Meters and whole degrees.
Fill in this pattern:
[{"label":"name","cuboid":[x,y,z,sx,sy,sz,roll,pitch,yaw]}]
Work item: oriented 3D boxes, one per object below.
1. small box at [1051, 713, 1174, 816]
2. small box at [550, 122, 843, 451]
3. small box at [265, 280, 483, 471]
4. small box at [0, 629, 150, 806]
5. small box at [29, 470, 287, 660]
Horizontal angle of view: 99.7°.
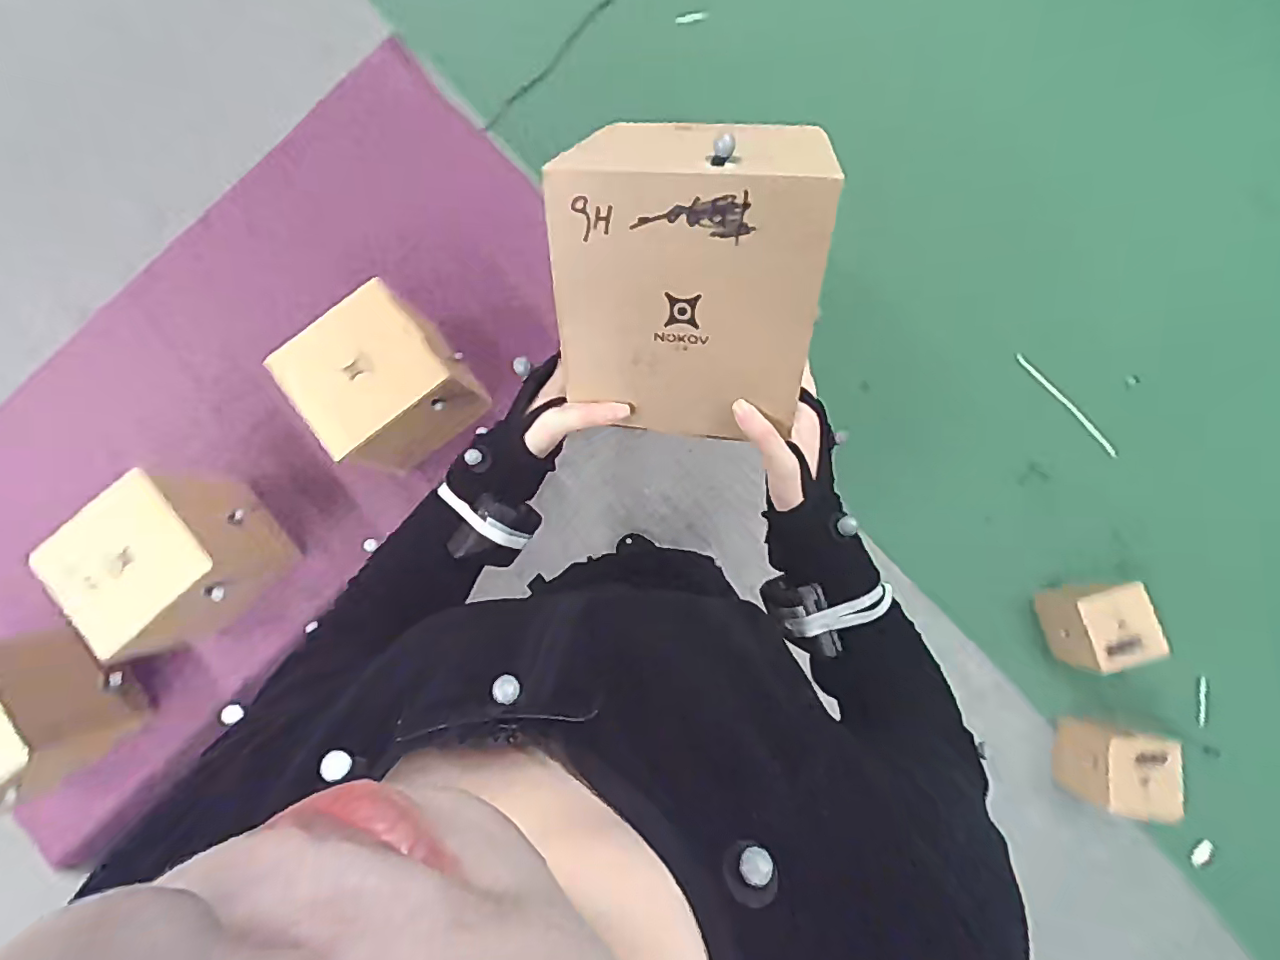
[{"label":"small box","cuboid":[1.159,0.694,1.338,0.168,0.176,0.179,3,86,2]},{"label":"small box","cuboid":[0.044,-0.149,0.407,0.168,0.179,0.176,8,42,9]},{"label":"small box","cuboid":[-0.351,-0.130,0.747,0.179,0.176,0.168,-38,84,-2]},{"label":"small box","cuboid":[-0.837,0.325,0.727,0.179,0.176,0.168,-37,85,-3]},{"label":"small box","cuboid":[-0.628,0.108,0.736,0.179,0.176,0.168,-42,84,-2]}]
